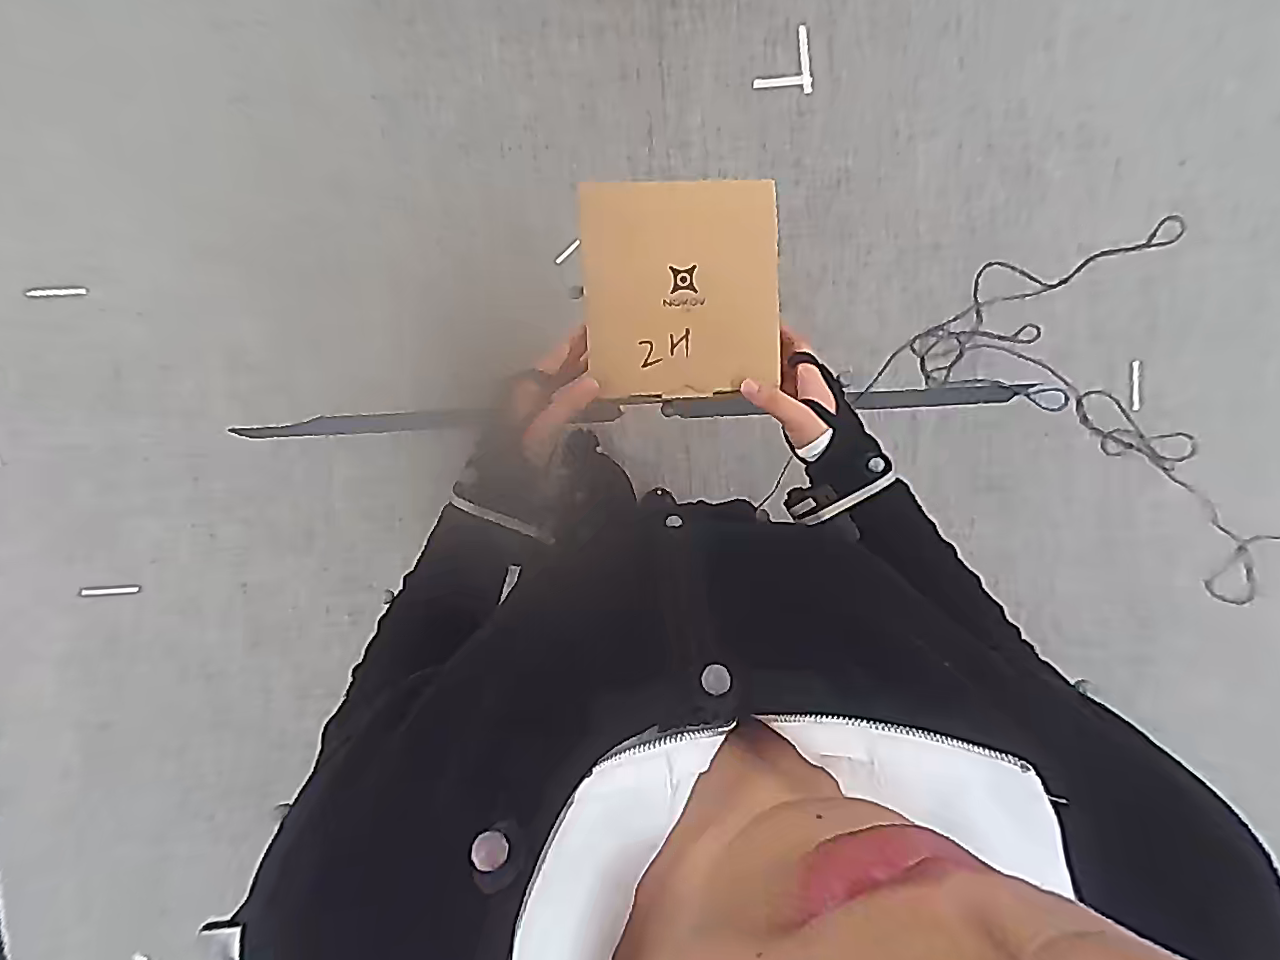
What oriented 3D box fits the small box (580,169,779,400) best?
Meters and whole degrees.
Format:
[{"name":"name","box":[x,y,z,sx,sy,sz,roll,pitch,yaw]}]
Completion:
[{"name":"small box","box":[0.027,-0.175,0.531,0.168,0.176,0.179,-4,96,-5]}]
